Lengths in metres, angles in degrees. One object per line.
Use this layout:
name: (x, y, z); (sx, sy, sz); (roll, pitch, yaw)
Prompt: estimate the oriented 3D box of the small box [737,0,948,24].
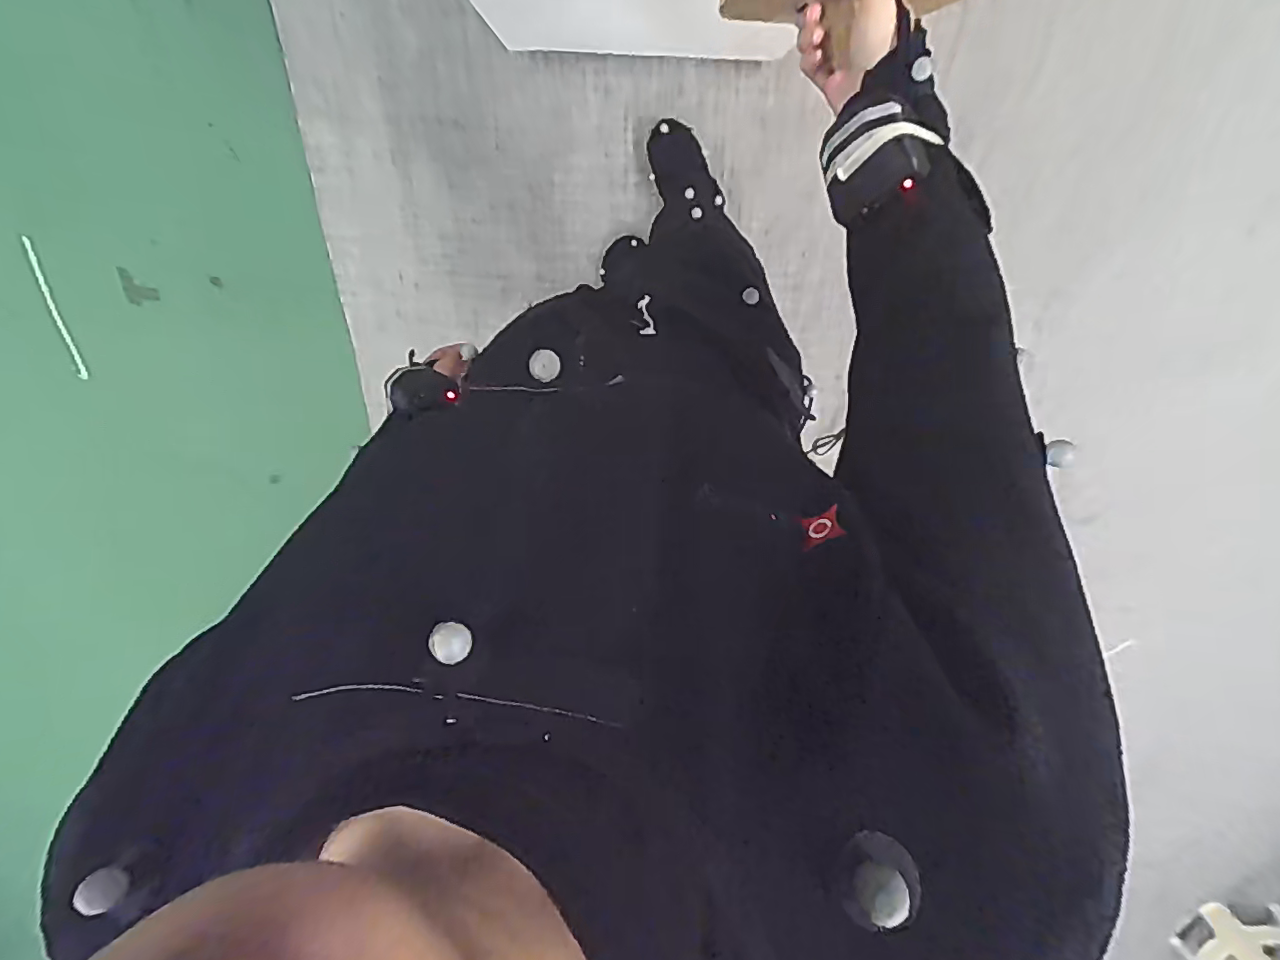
small box: (0.165, -0.462, 0.391); (0.168, 0.176, 0.179); (4, 124, -1)
